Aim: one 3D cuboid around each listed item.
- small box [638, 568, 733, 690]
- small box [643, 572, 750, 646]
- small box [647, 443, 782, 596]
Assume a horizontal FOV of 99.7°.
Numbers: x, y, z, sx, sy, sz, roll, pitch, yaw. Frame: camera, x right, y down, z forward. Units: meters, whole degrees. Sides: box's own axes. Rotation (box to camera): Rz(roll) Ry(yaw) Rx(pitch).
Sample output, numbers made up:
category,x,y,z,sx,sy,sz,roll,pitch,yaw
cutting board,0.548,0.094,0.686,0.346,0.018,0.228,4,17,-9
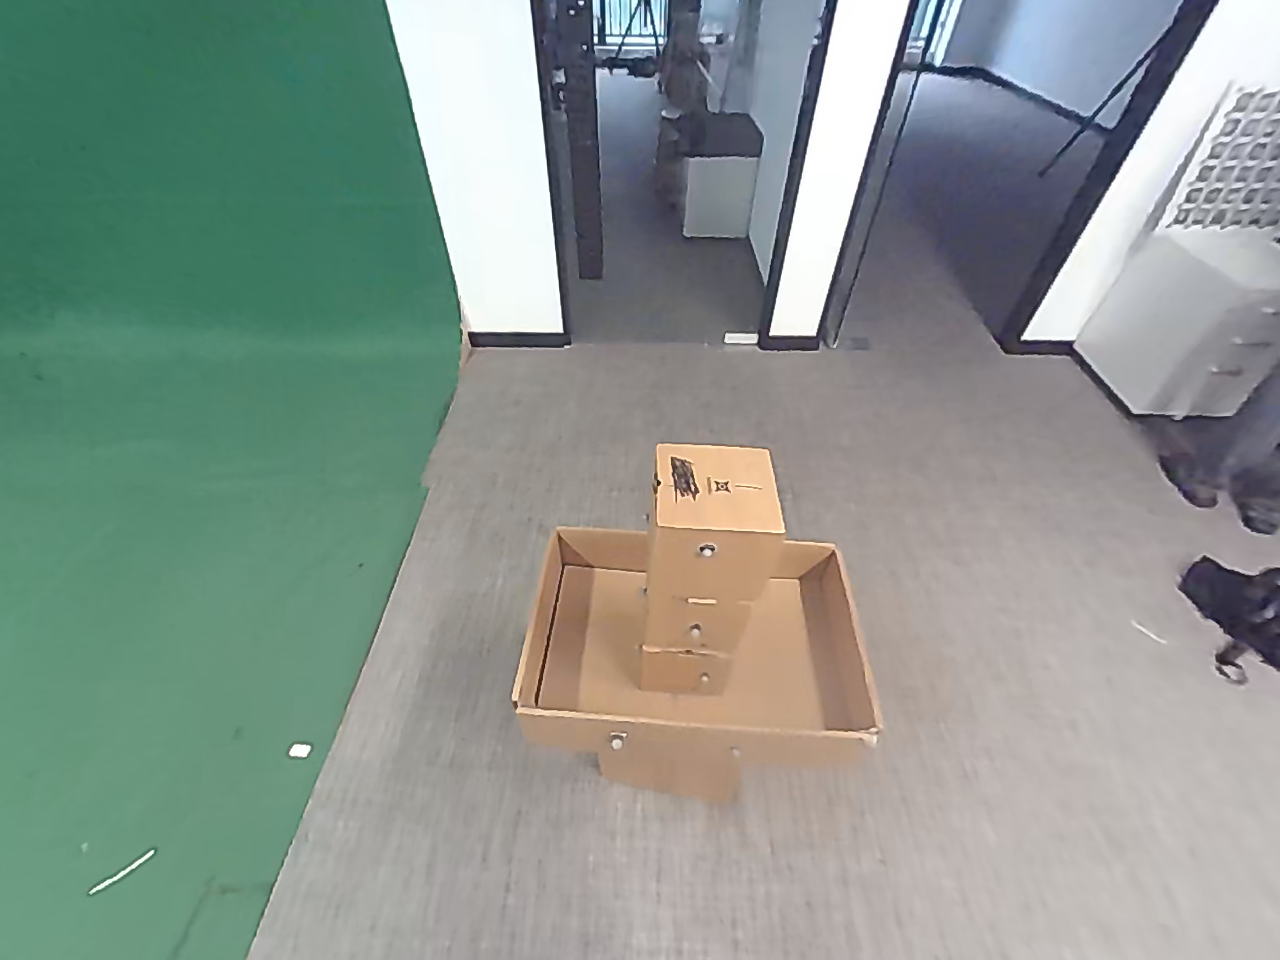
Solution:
category,x,y,z,sx,sy,sz,roll,pitch,yaw
small box,0.085,0.295,1.065,0.168,0.176,0.179,4,44,0
small box,0.094,0.175,0.953,0.168,0.176,0.179,4,47,0
small box,0.103,0.063,0.832,0.179,0.176,0.168,4,46,-2
